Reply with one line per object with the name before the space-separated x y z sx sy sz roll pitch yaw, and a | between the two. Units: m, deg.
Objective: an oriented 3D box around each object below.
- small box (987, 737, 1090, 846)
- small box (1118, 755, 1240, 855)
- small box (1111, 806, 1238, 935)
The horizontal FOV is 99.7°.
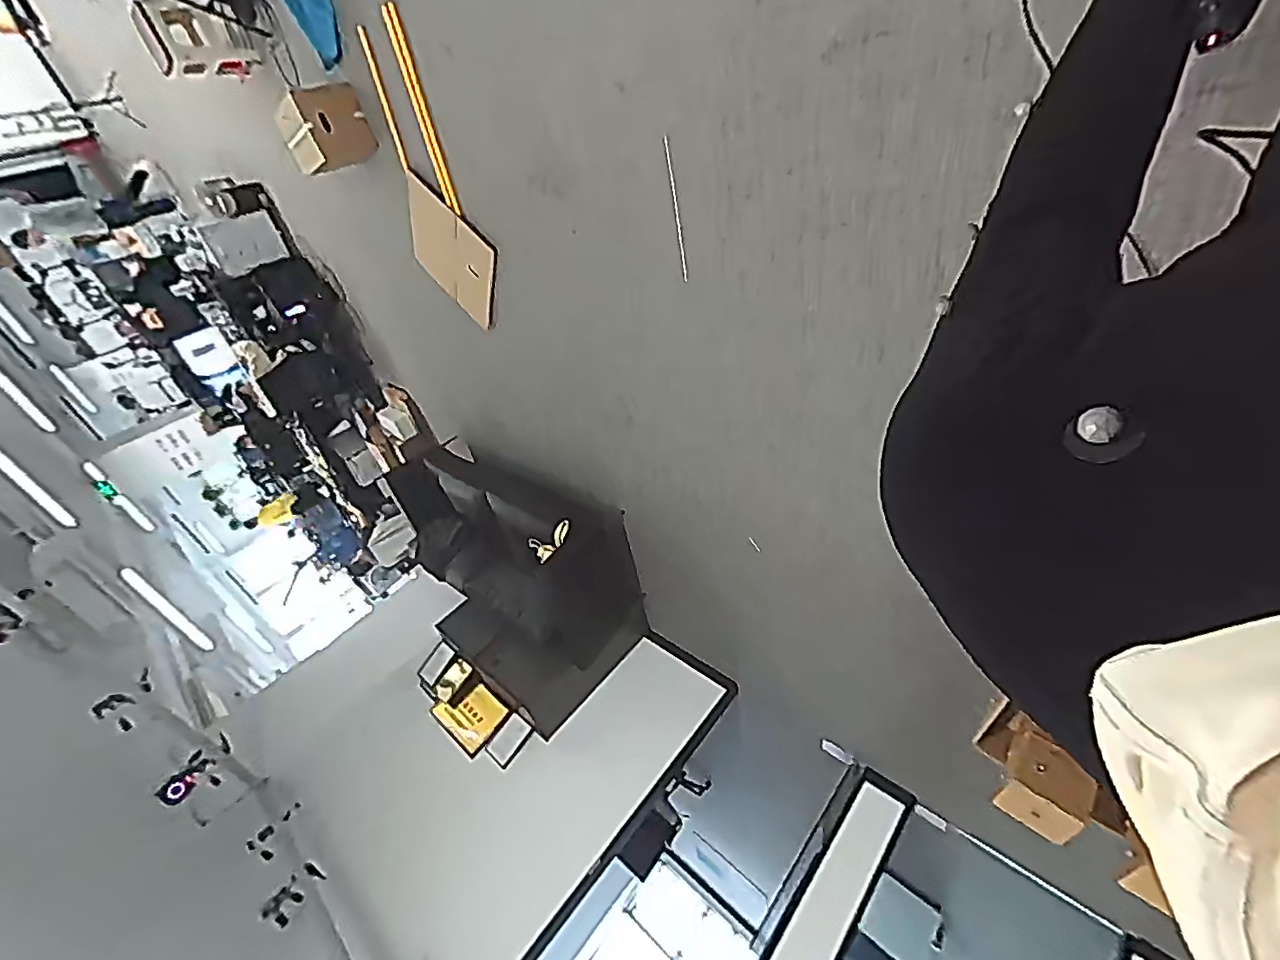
small box | 1.084 0.839 1.469 0.168 0.176 0.179 28 144 33
small box | 1.402 0.861 1.406 0.179 0.176 0.168 25 141 34
small box | 1.297 0.942 1.313 0.168 0.176 0.179 25 141 36
